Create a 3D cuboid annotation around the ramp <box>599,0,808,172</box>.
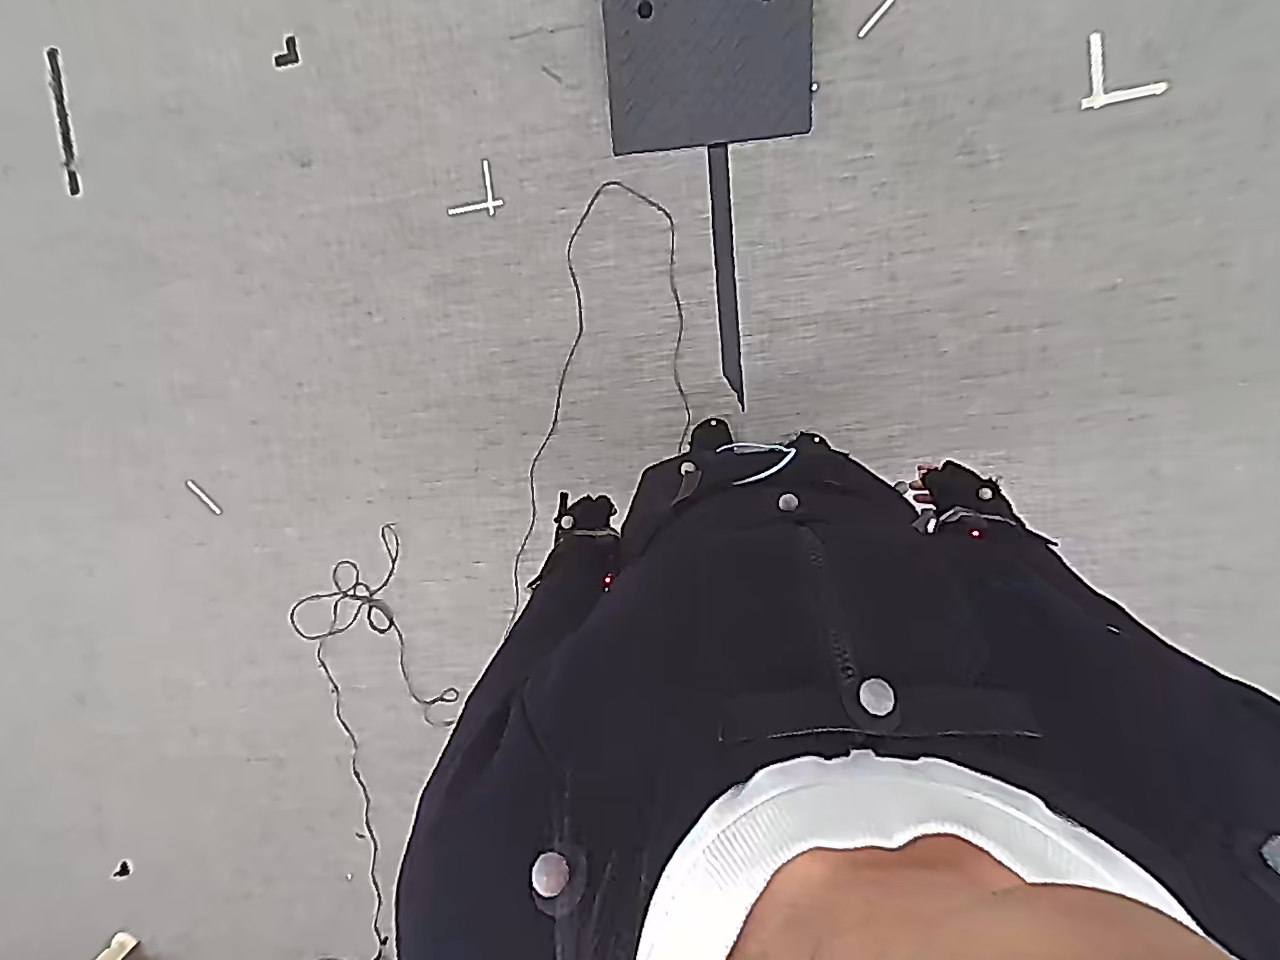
[{"bbox_3d":[0.130,-1.297,1.252,0.509,0.206,0.991,-6,95,7],"label":"ramp"}]
